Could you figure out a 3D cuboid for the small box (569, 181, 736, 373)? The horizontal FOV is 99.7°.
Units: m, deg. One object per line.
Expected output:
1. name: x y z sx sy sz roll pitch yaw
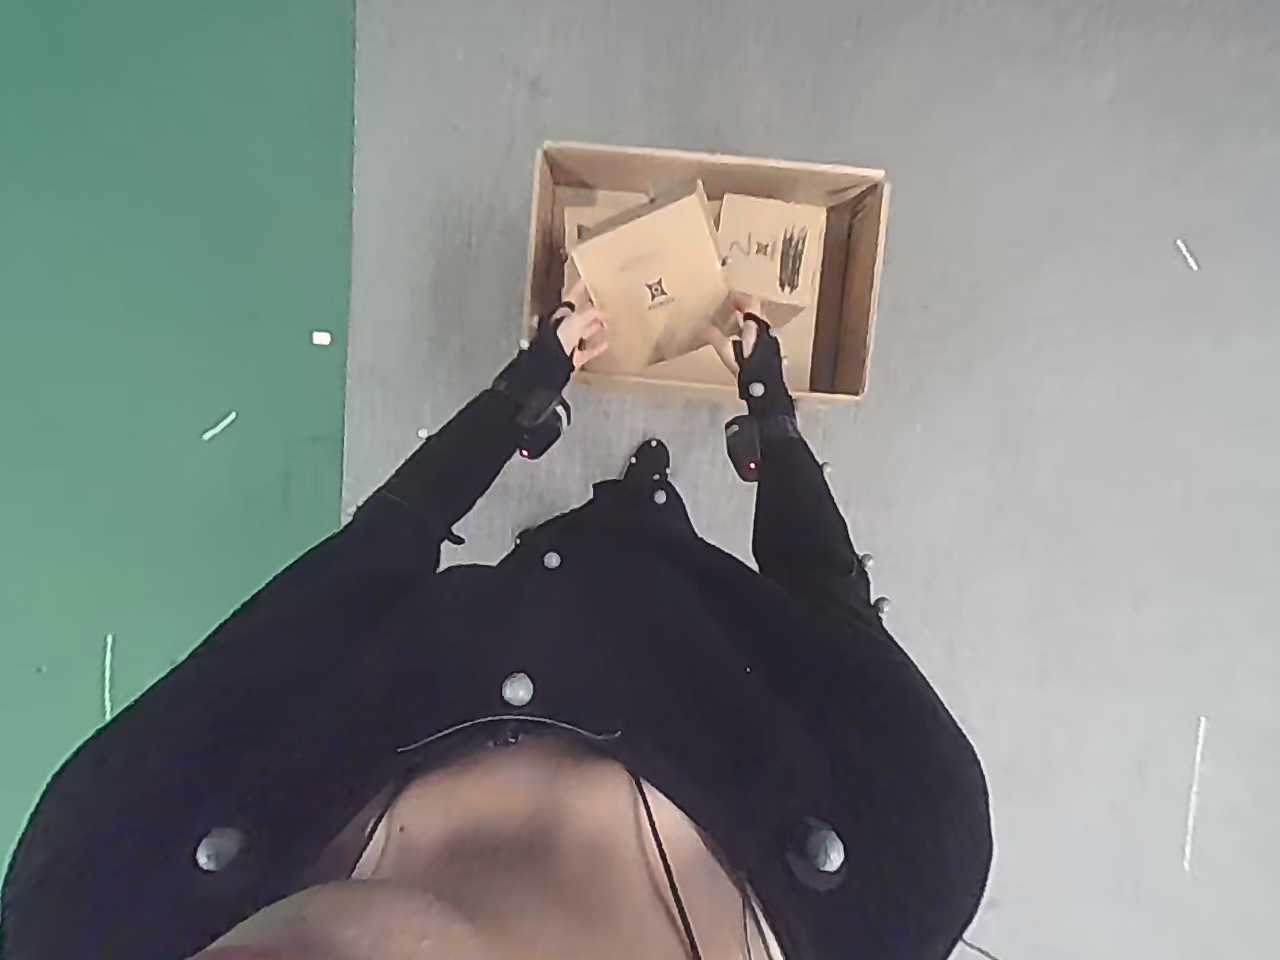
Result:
1. small box: 0.029 -0.276 0.731 0.168 0.176 0.179 -15 122 17
